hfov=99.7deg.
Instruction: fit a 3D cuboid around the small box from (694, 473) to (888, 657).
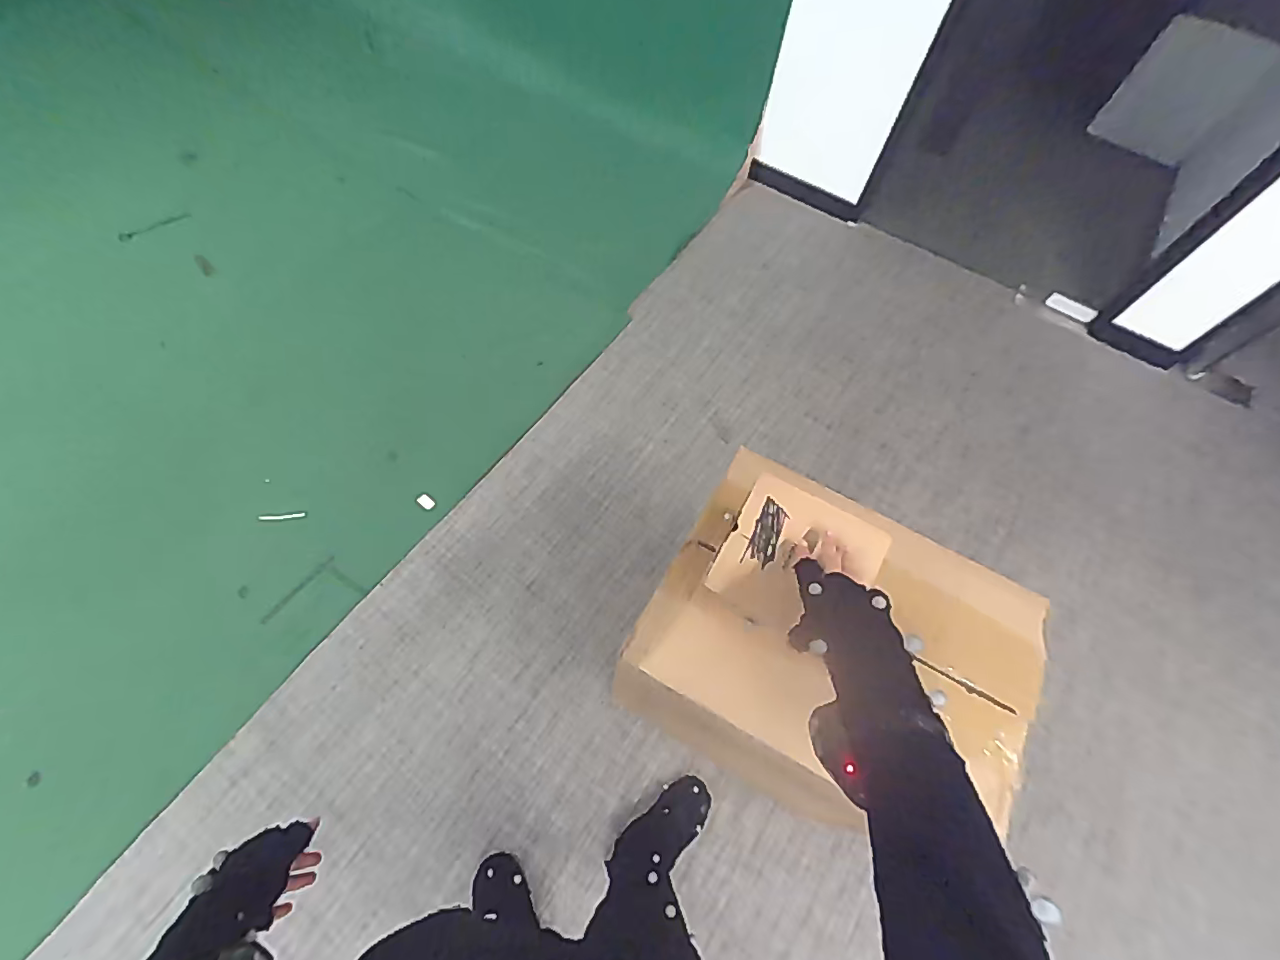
[{"bbox_3d":[0.185,0.122,0.717,0.179,0.176,0.168,28,74,9],"label":"small box"}]
